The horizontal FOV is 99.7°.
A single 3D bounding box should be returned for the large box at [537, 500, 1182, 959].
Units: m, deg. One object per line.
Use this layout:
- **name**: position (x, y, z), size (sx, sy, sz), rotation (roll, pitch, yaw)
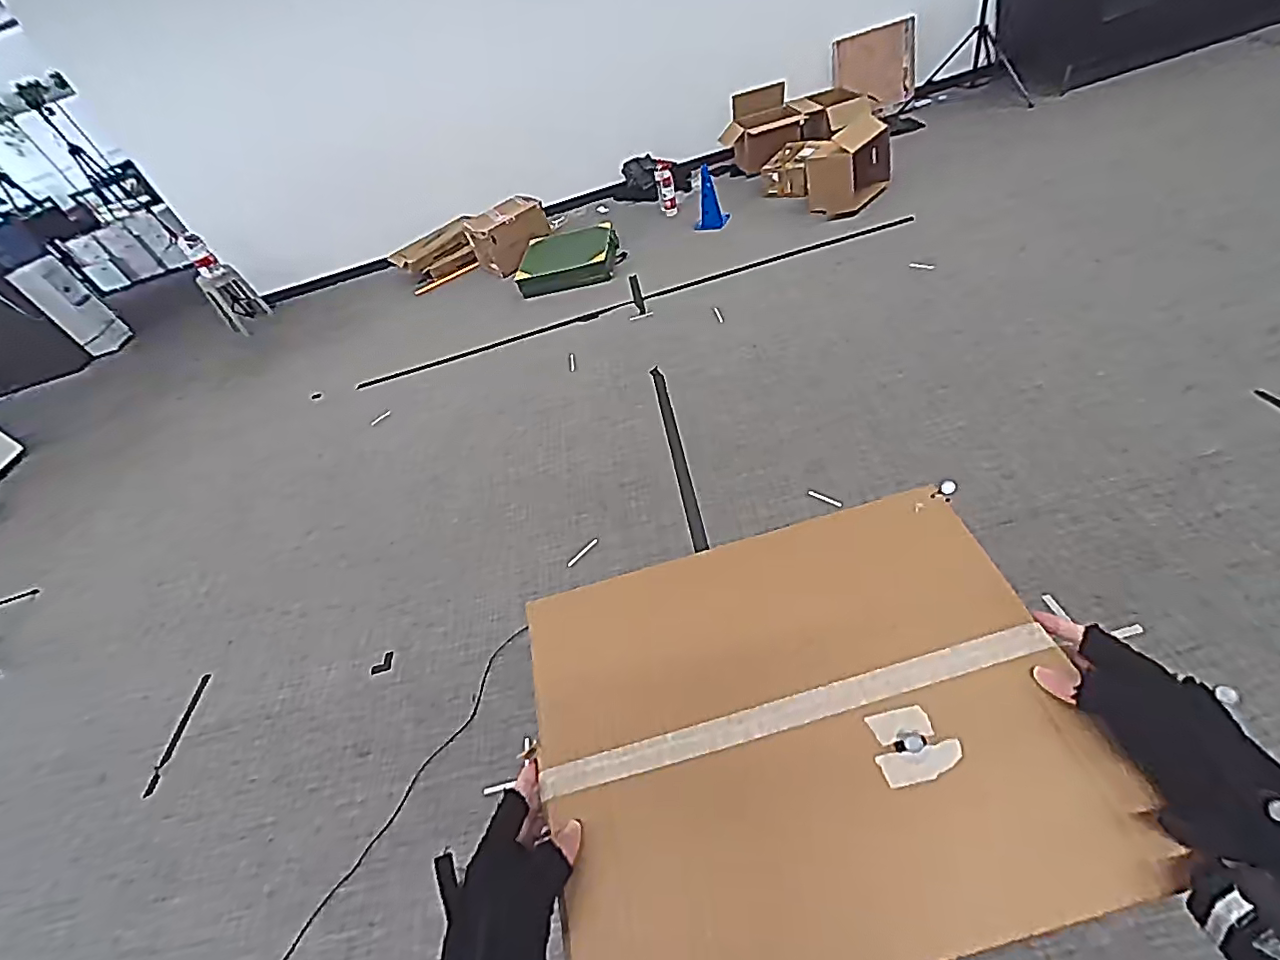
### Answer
- **large box**: position (0.148, 0.279, 0.548), size (0.408, 0.320, 0.320), rotation (-16, 52, 0)
